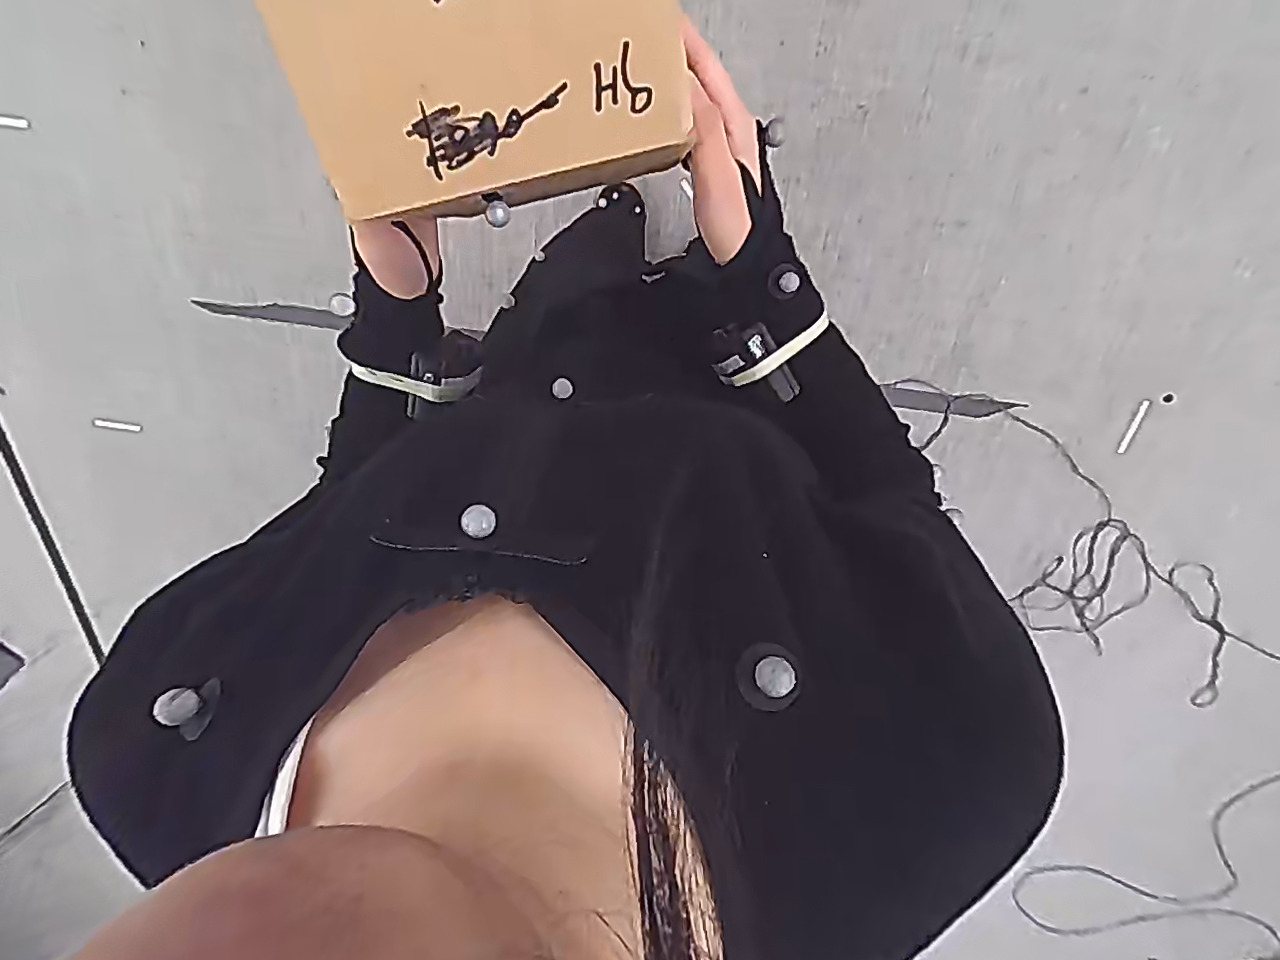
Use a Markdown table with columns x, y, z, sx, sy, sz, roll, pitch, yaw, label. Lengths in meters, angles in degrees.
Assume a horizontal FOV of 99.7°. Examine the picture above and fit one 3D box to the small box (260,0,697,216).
| x | y | z | sx | sy | sz | roll | pitch | yaw | label |
| --- | --- | --- | --- | --- | --- | --- | --- | --- | --- |
| -0.069 | -0.243 | 0.273 | 0.168 | 0.176 | 0.179 | -9 | 116 | 7 | small box |
